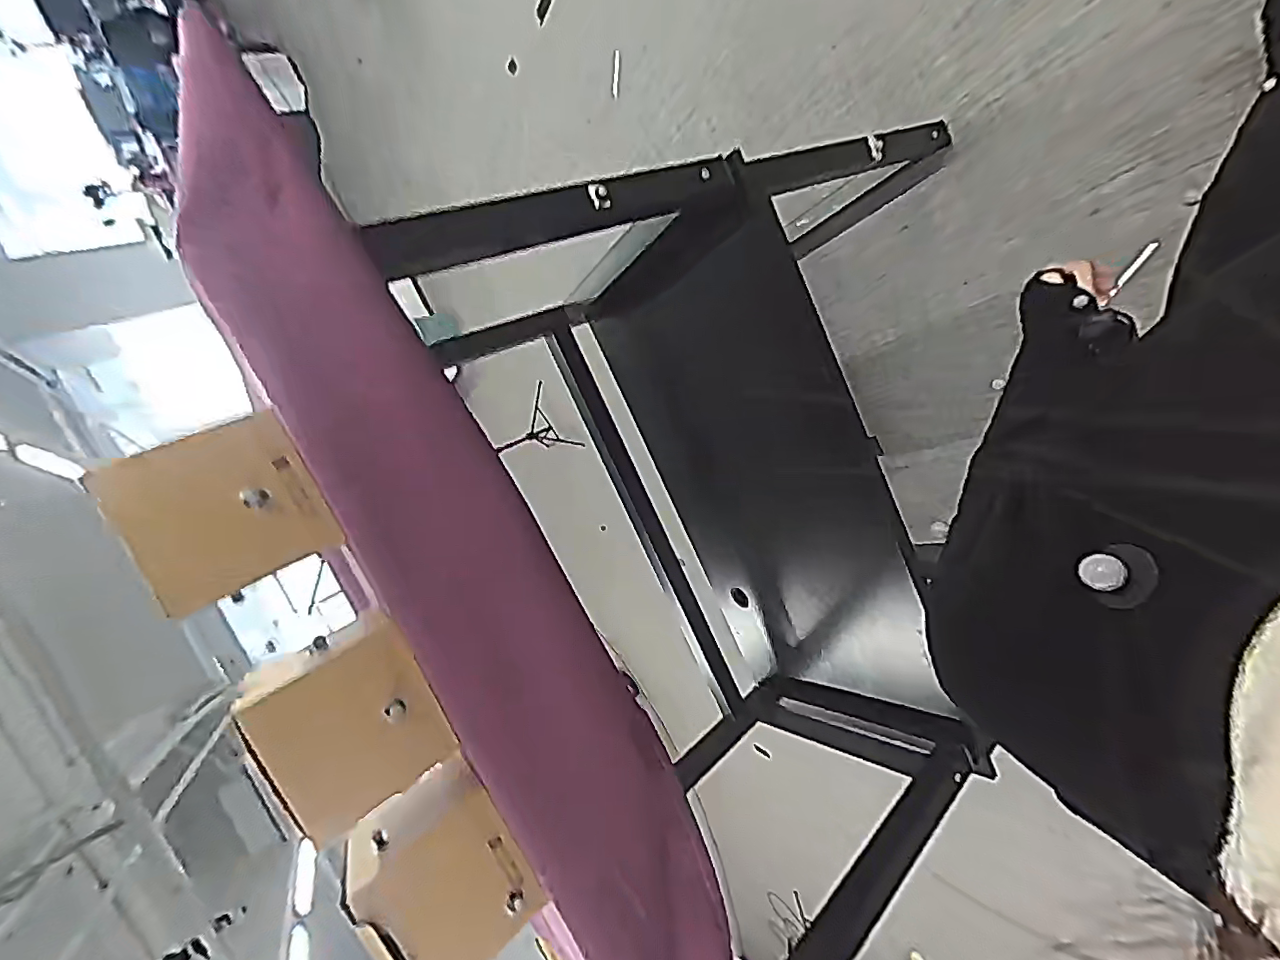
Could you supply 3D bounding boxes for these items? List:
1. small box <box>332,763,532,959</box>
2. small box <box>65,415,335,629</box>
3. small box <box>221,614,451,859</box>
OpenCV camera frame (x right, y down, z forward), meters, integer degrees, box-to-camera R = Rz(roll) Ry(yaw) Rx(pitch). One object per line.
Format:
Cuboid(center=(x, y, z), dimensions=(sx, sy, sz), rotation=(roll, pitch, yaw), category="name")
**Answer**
Cuboid(center=(-0.257, 0.491, 0.676), dimensions=(0.179, 0.176, 0.168), rotation=(-21, 97, 60), category="small box")
Cuboid(center=(-0.472, 0.041, 0.615), dimensions=(0.179, 0.176, 0.168), rotation=(-8, 109, 58), category="small box")
Cuboid(center=(-0.354, 0.282, 0.644), dimensions=(0.168, 0.176, 0.179), rotation=(-8, 108, 59), category="small box")
